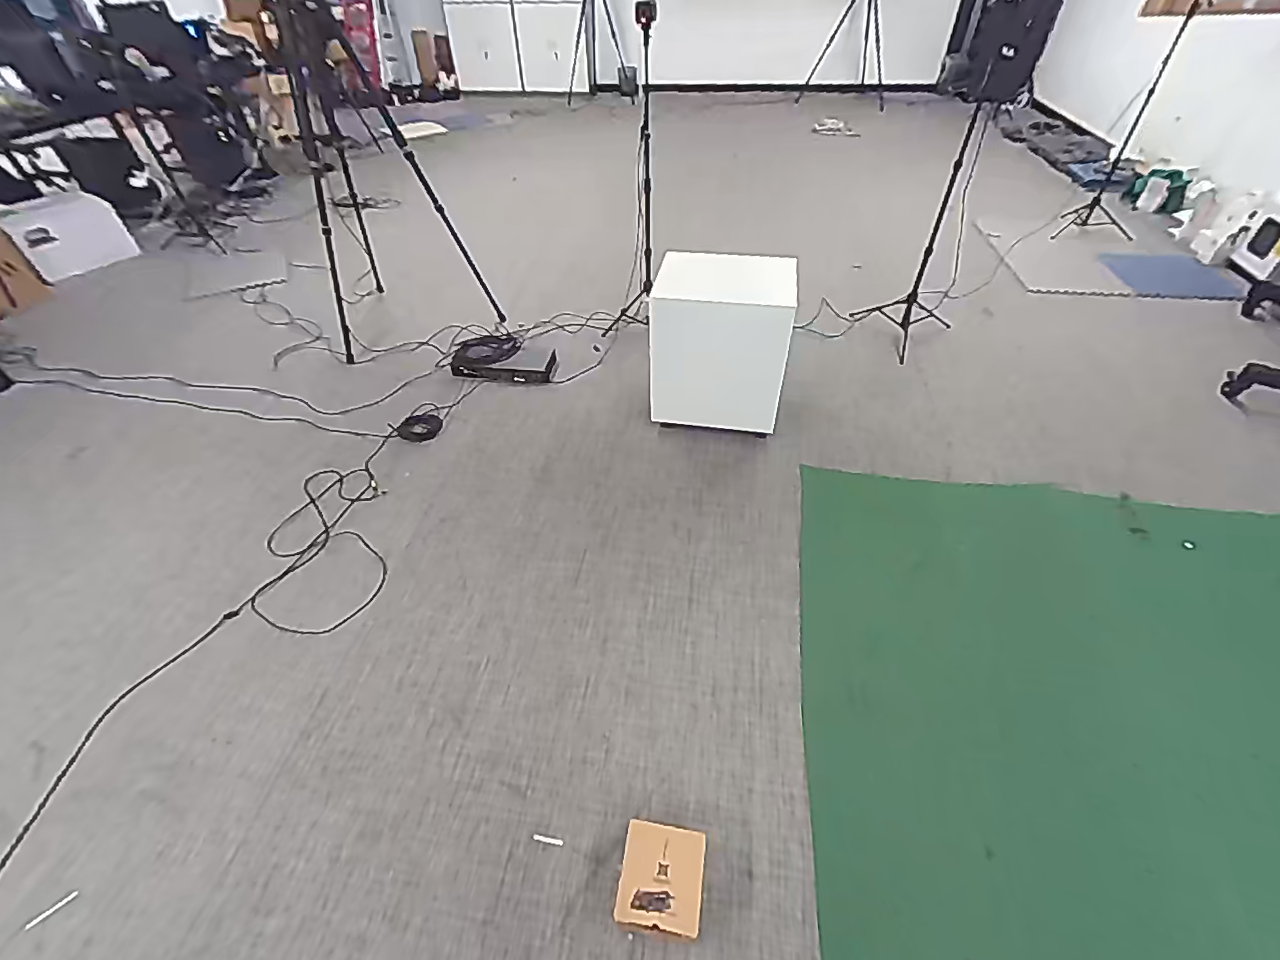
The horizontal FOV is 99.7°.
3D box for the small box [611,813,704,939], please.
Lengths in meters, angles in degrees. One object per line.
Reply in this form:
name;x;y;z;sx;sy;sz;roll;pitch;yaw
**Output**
small box;0.041;0.840;1.143;0.168;0.176;0.179;7;46;8
